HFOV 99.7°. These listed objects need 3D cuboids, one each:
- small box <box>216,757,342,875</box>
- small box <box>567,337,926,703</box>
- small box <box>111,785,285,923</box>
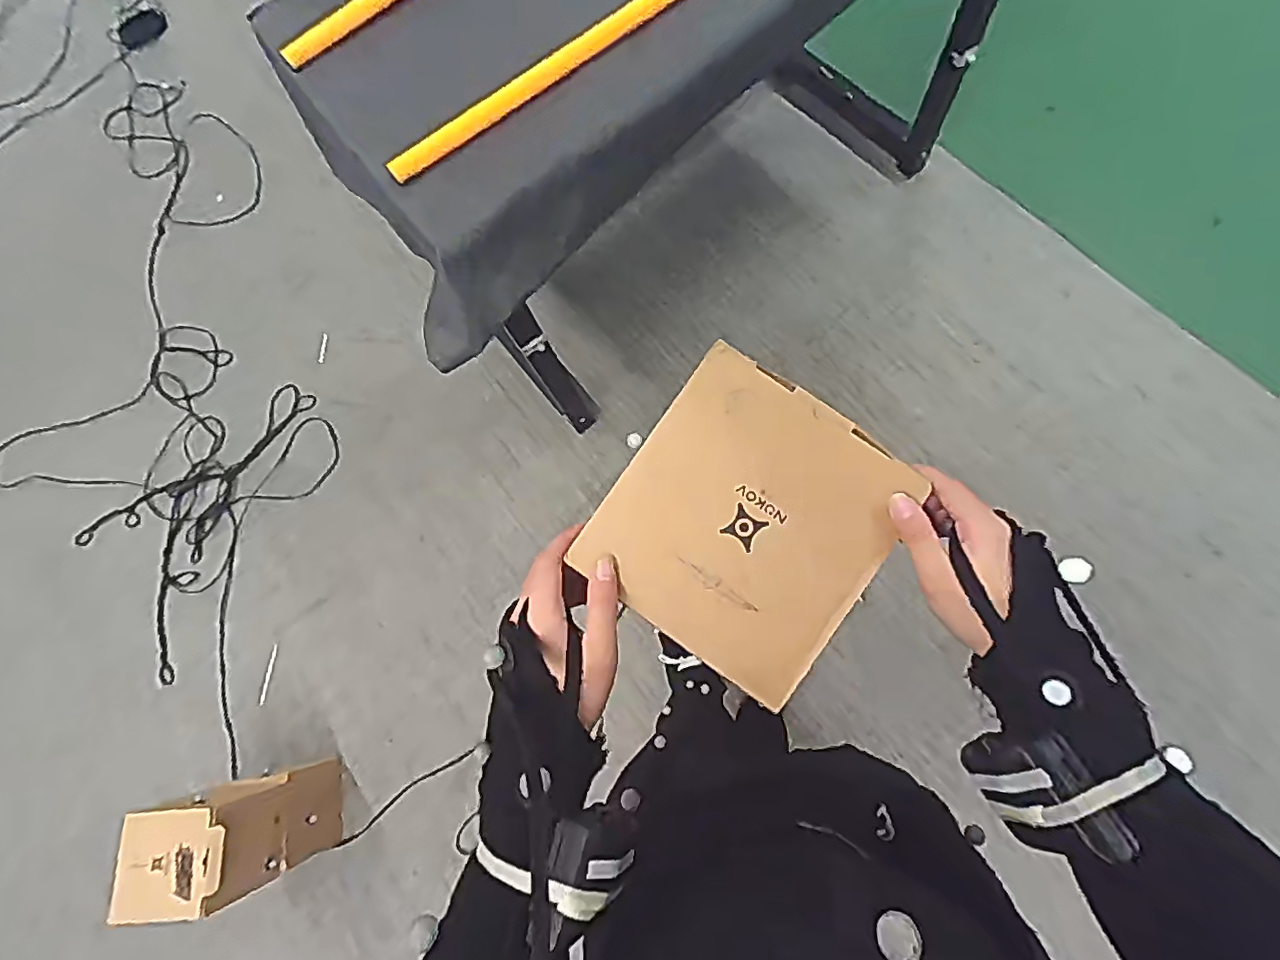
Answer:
[{"bbox_3d":[-0.759,0.711,1.145,0.168,0.176,0.179,-12,72,5],"label":"small box"},{"bbox_3d":[0.069,0.027,0.418,0.168,0.176,0.179,34,89,5],"label":"small box"},{"bbox_3d":[-0.791,0.671,0.988,0.179,0.176,0.168,-8,72,7],"label":"small box"}]
